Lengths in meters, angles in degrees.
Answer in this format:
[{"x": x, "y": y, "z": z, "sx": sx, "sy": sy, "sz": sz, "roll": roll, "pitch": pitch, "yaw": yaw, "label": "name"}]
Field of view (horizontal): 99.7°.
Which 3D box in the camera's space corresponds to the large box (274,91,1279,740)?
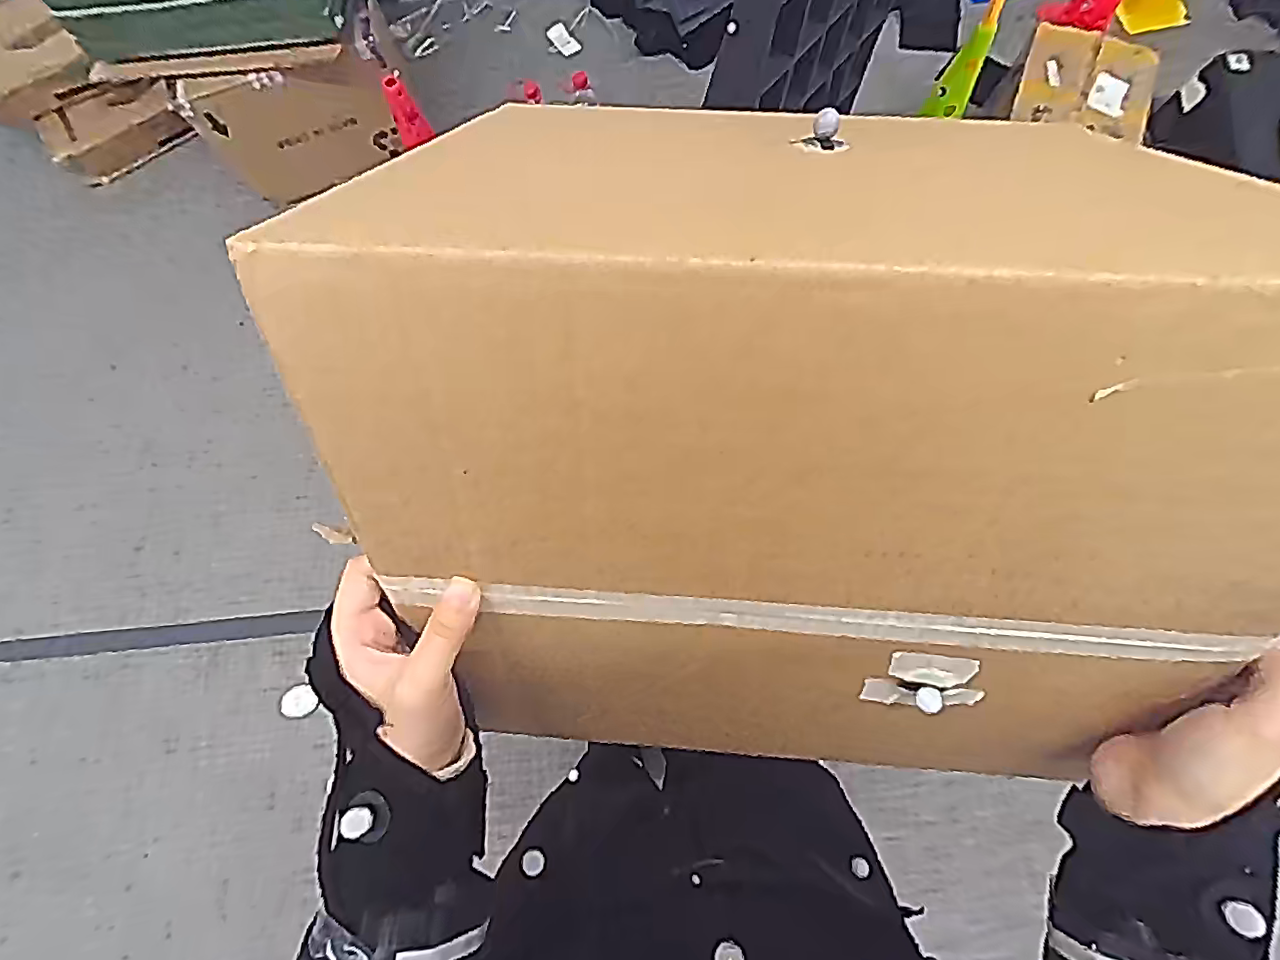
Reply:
[{"x": 0.093, "y": -0.059, "z": 0.359, "sx": 0.408, "sy": 0.320, "sz": 0.320, "roll": 3, "pitch": 42, "yaw": 2, "label": "large box"}]
